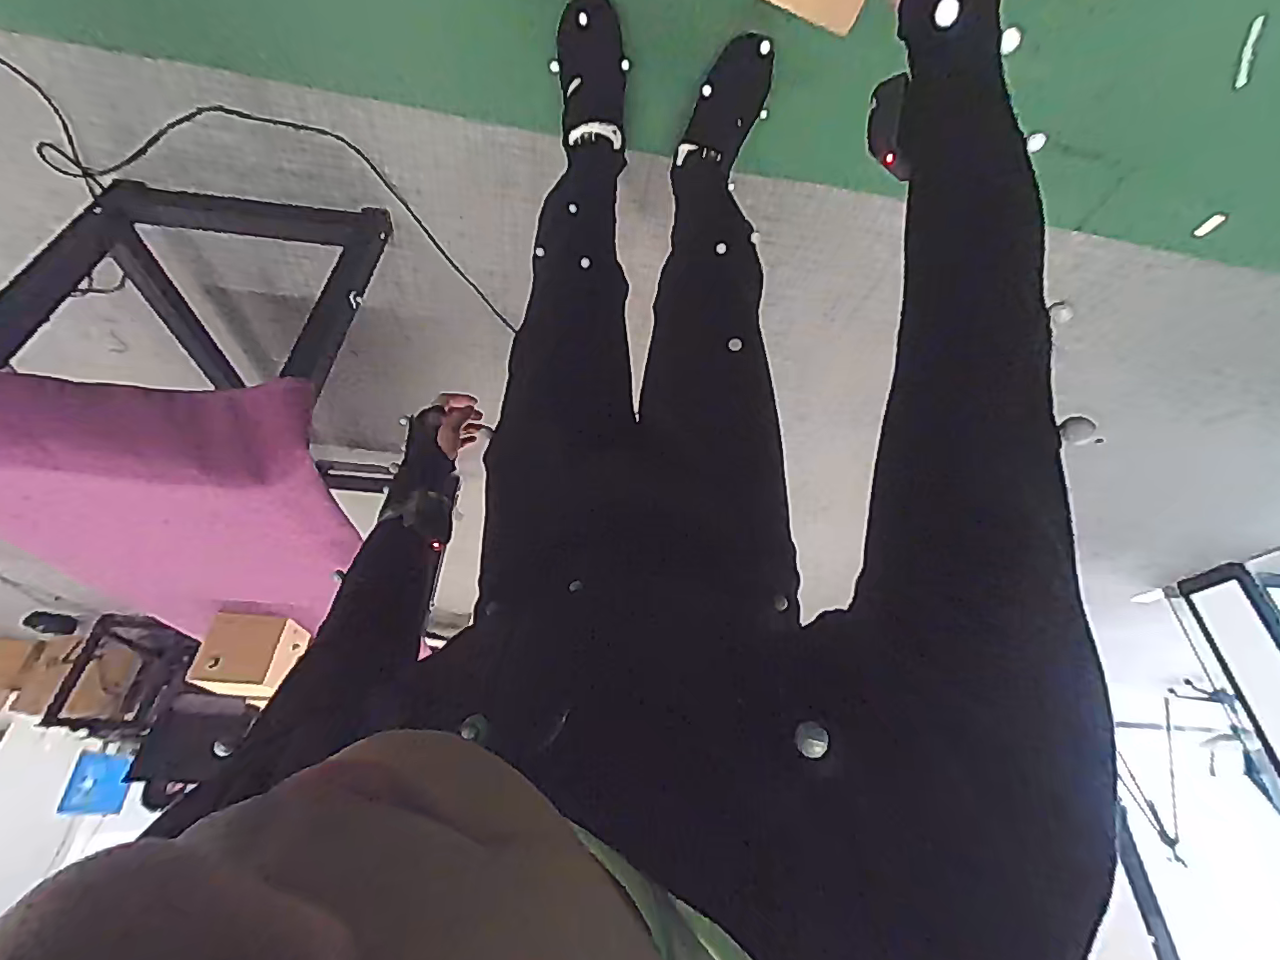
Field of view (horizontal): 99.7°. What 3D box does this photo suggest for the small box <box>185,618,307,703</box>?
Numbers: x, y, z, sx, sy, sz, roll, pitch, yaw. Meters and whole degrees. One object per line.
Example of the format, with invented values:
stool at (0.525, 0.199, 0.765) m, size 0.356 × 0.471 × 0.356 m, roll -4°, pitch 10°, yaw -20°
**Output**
small box at (-0.994, 0.461, 1.383) m, size 0.179 × 0.176 × 0.168 m, roll 6°, pitch 147°, yaw -8°
